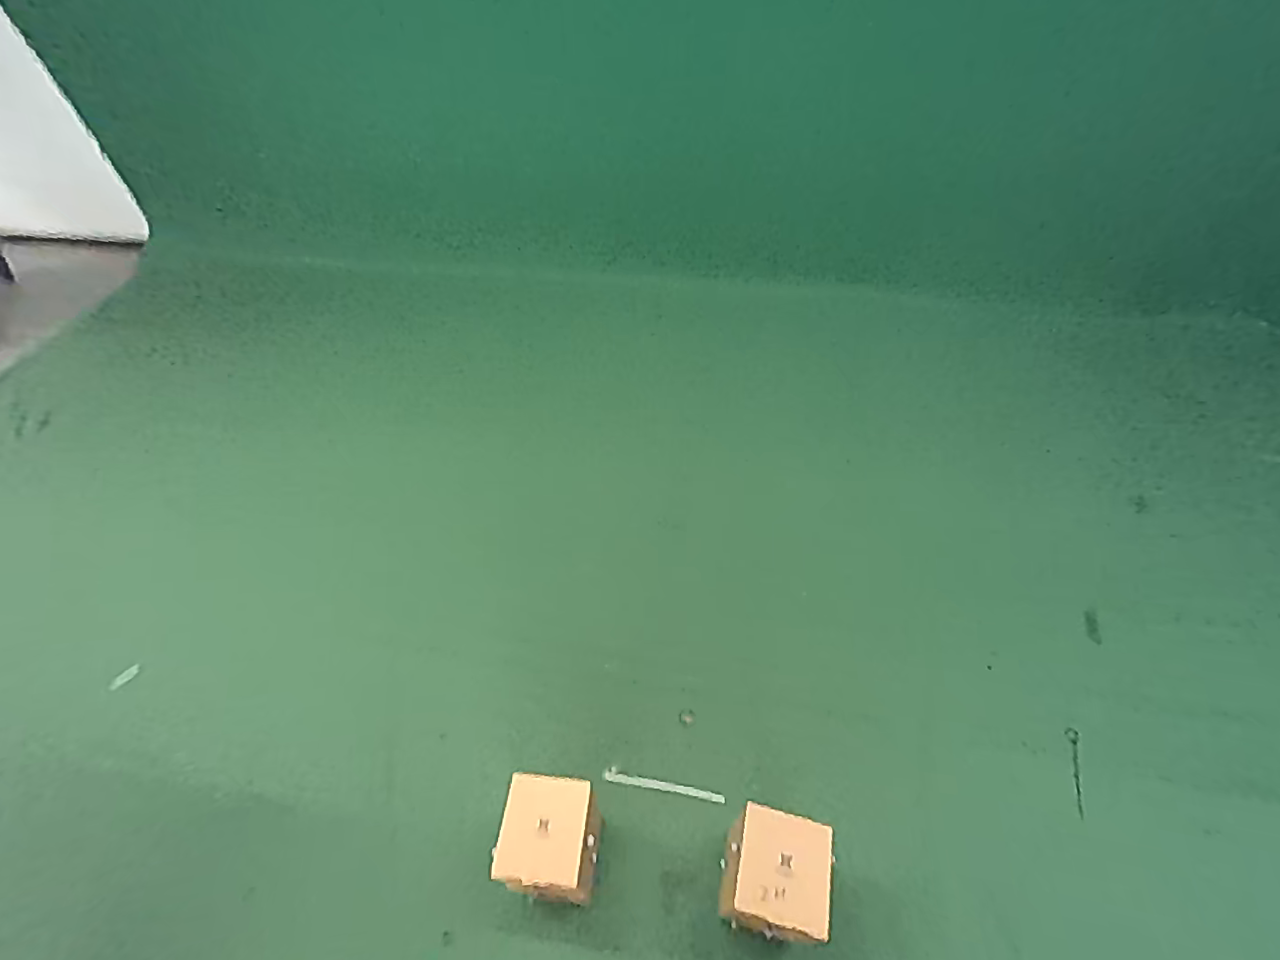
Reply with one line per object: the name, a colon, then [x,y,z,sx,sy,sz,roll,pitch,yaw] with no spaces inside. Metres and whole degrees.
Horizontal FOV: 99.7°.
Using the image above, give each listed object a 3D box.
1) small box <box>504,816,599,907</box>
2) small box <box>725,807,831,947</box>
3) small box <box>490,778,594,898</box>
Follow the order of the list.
small box: [-0.190,0.849,1.229,0.168,0.176,0.179,5,49,6]
small box: [0.266,0.777,1.060,0.168,0.176,0.179,11,51,11]
small box: [-0.189,0.737,1.111,0.168,0.176,0.179,4,50,5]
